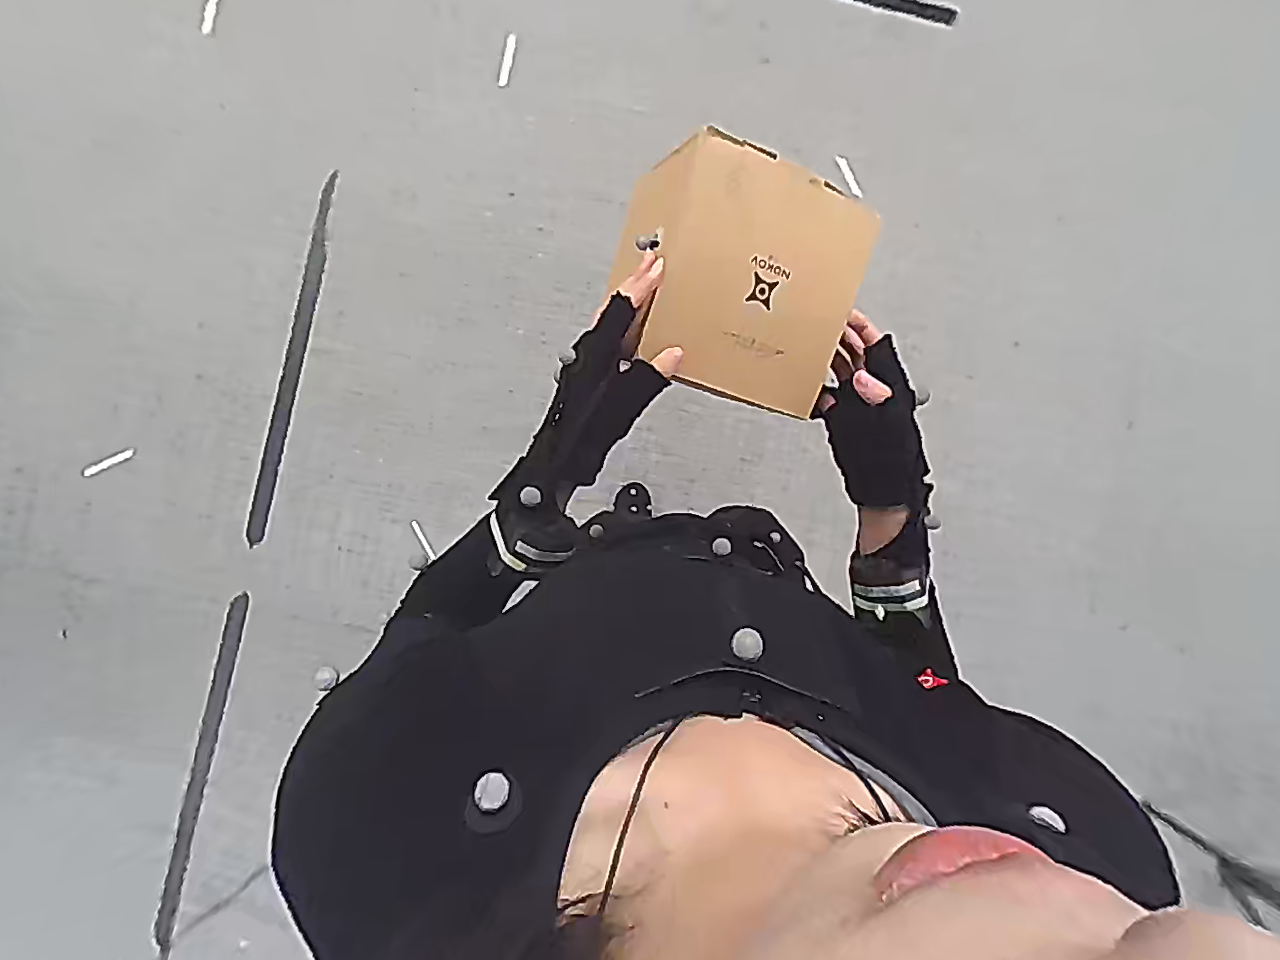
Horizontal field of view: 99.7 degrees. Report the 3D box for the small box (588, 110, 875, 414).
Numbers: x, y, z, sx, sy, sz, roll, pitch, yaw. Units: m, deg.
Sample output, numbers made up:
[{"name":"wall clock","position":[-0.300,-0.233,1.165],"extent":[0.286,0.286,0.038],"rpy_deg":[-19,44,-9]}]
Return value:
[{"name":"small box","position":[0.063,-0.174,0.481],"extent":[0.168,0.176,0.179],"rpy_deg":[13,101,-20]}]
